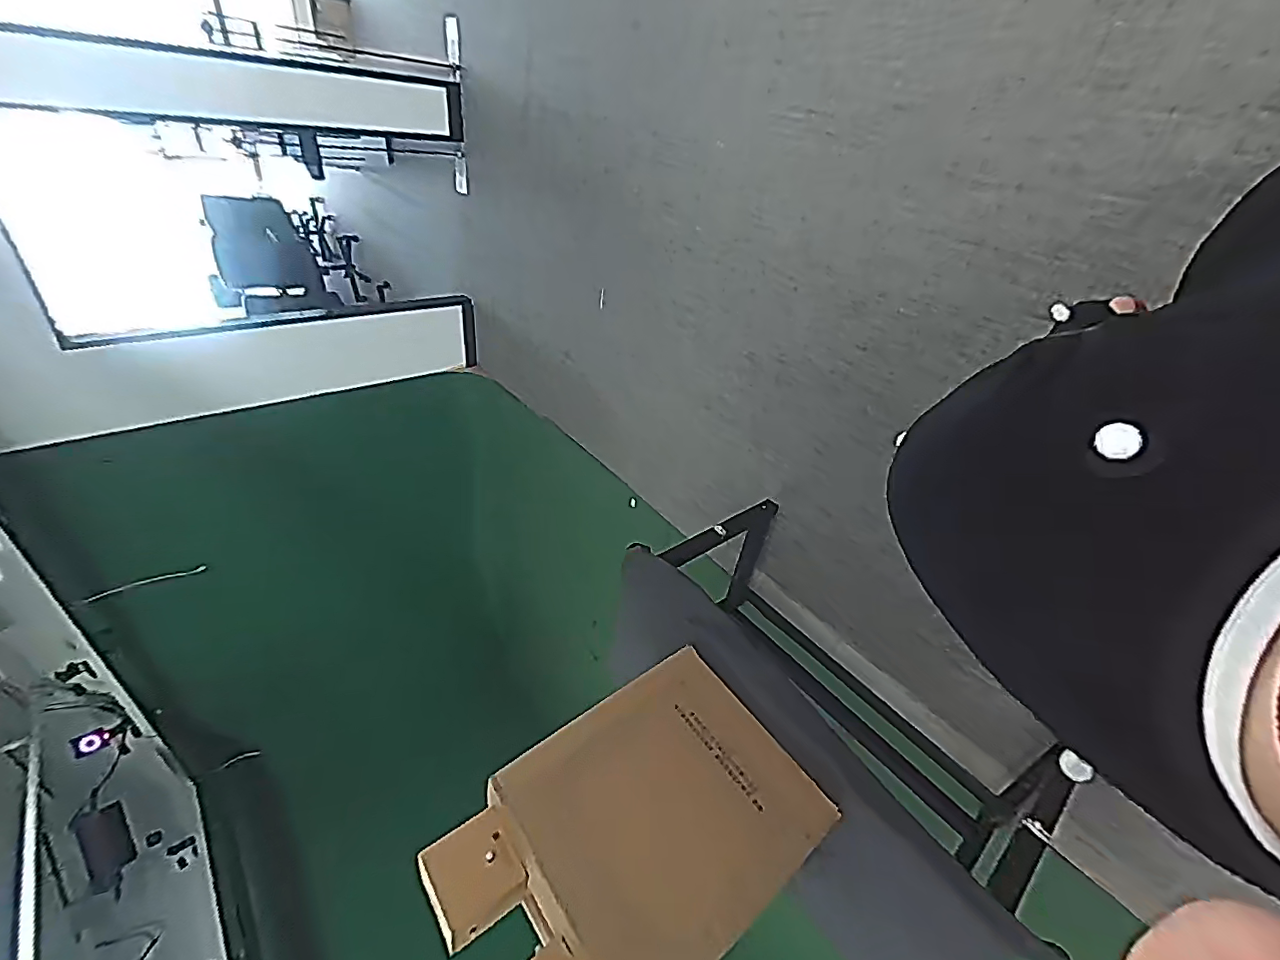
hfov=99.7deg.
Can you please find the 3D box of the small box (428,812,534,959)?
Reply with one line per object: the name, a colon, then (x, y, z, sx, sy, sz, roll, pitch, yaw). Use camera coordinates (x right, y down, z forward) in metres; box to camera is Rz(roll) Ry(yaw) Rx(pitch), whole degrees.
small box: (-0.343, 0.870, 1.170, 0.168, 0.176, 0.179, 43, 135, 33)
